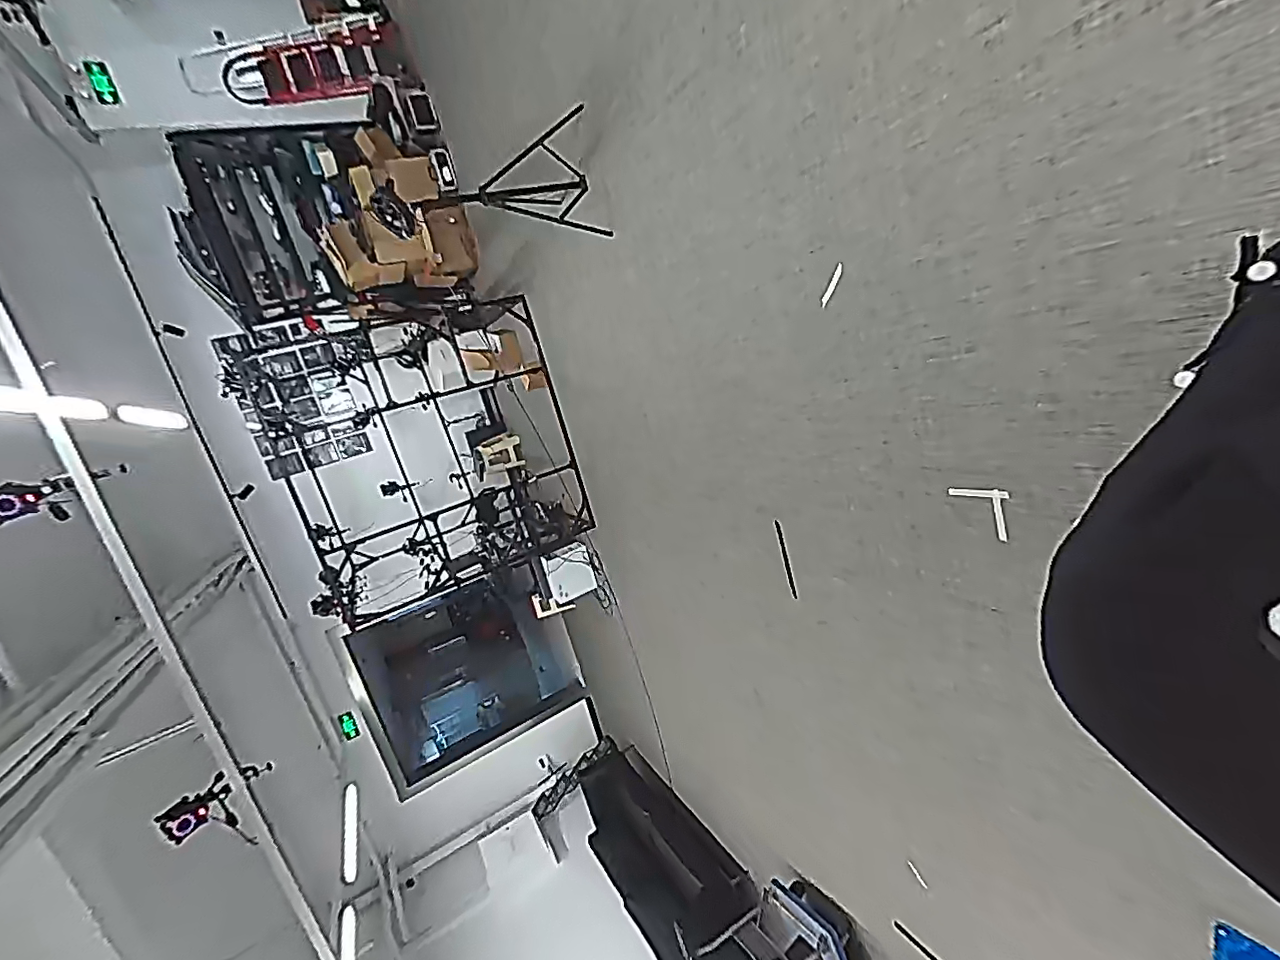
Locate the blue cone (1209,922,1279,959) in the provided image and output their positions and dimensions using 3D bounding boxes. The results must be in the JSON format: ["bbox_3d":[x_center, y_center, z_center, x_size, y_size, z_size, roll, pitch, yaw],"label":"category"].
[{"bbox_3d":[1.422,1.301,1.292,0.192,0.380,0.193,19,126,61],"label":"blue cone"}]
